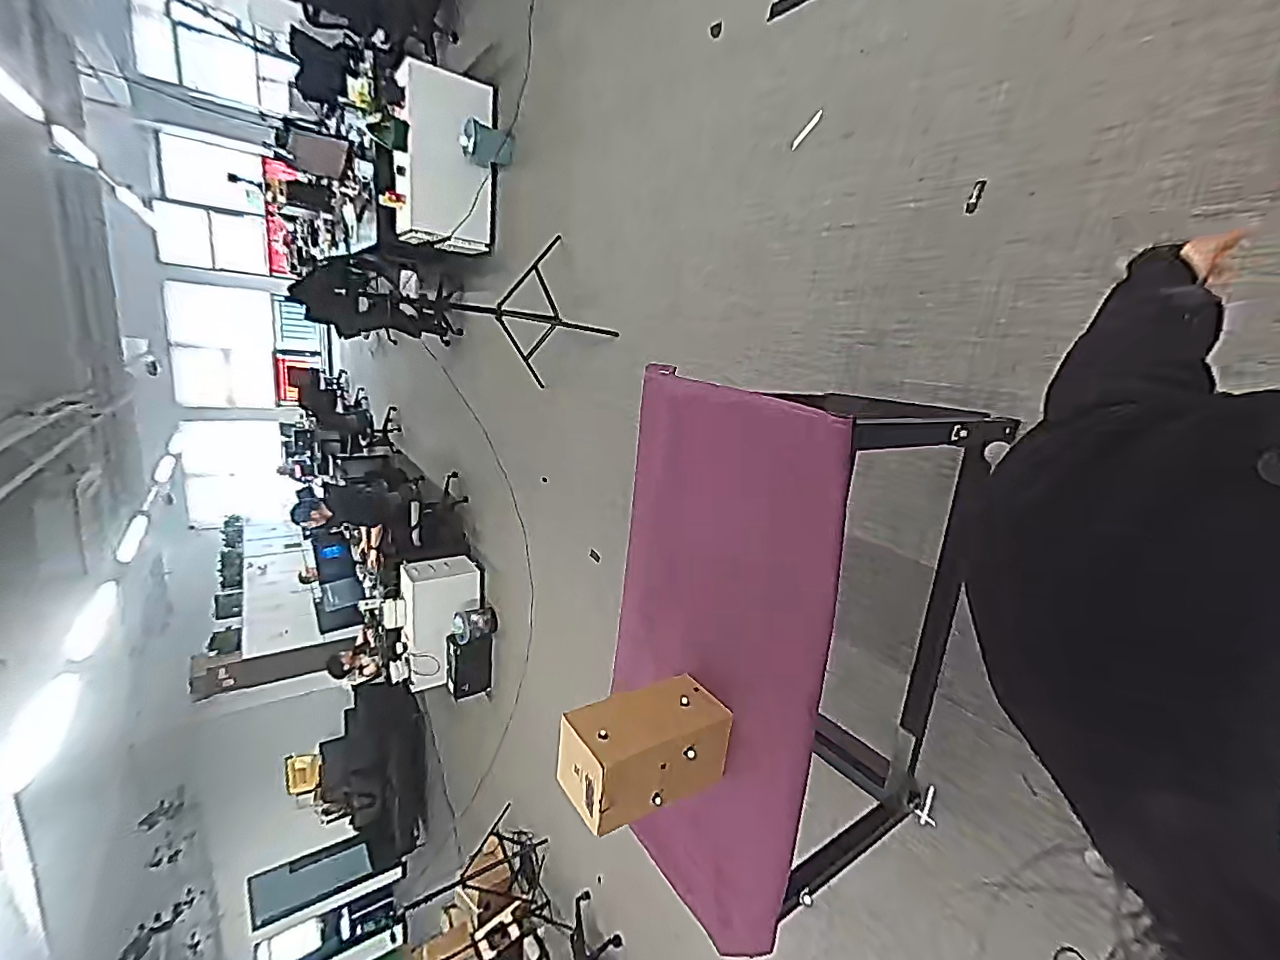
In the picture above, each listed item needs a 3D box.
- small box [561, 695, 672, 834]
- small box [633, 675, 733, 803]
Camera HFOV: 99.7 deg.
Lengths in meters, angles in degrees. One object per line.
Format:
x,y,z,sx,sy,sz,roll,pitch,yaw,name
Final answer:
-0.050,0.582,1.135,0.179,0.176,0.168,24,113,52,small box
0.089,0.573,1.222,0.168,0.176,0.179,26,115,52,small box
